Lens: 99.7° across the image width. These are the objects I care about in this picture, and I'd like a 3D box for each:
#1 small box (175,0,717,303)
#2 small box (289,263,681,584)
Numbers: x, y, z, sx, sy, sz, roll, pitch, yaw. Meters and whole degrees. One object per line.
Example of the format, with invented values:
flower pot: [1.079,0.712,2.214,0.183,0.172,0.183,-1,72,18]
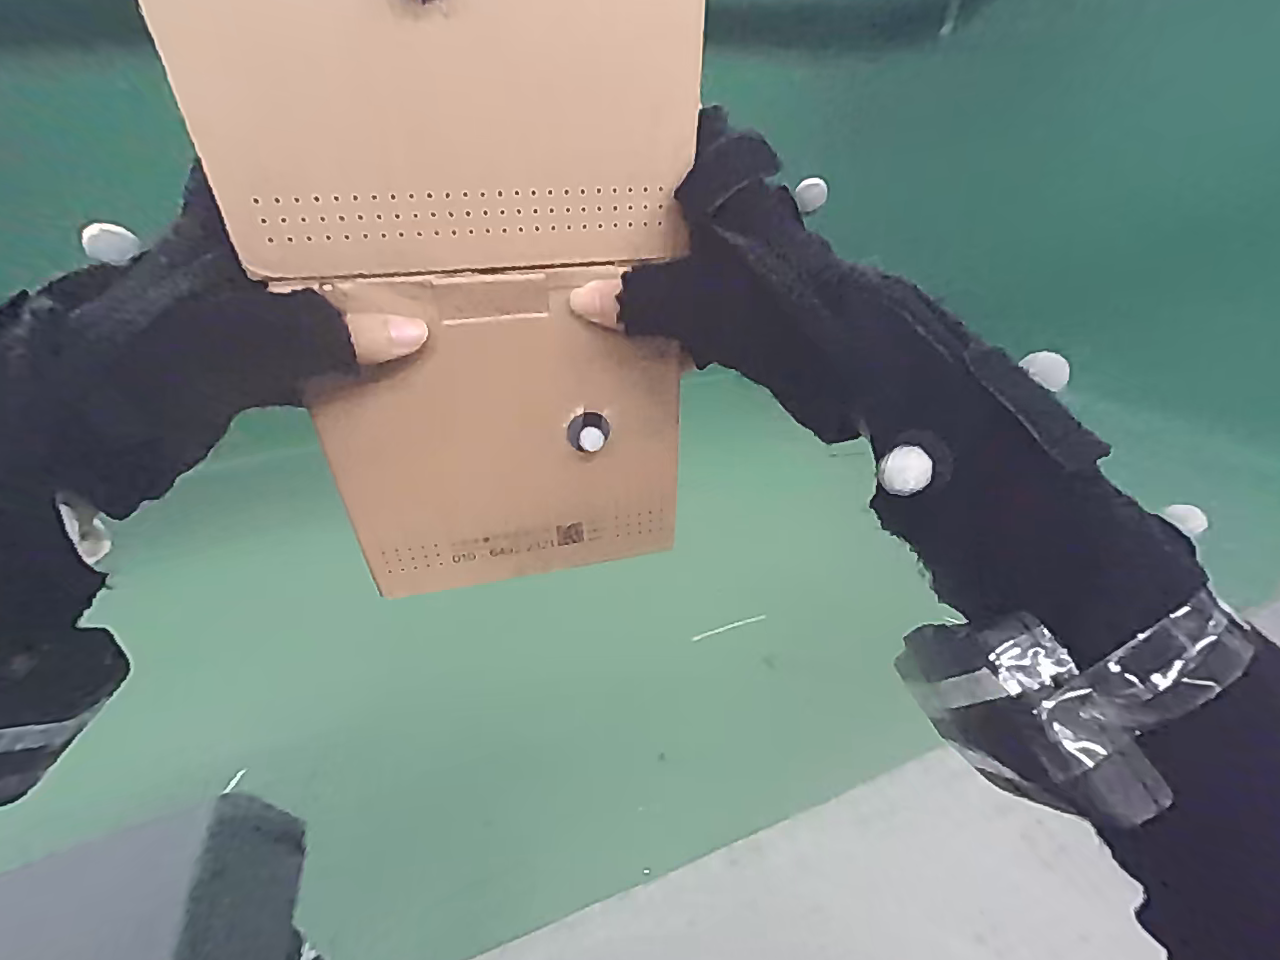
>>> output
small box: [-0.074,-0.187,0.241,0.179,0.176,0.168,-9,36,-15]
small box: [-0.076,-0.052,0.336,0.168,0.176,0.179,-8,34,-11]
